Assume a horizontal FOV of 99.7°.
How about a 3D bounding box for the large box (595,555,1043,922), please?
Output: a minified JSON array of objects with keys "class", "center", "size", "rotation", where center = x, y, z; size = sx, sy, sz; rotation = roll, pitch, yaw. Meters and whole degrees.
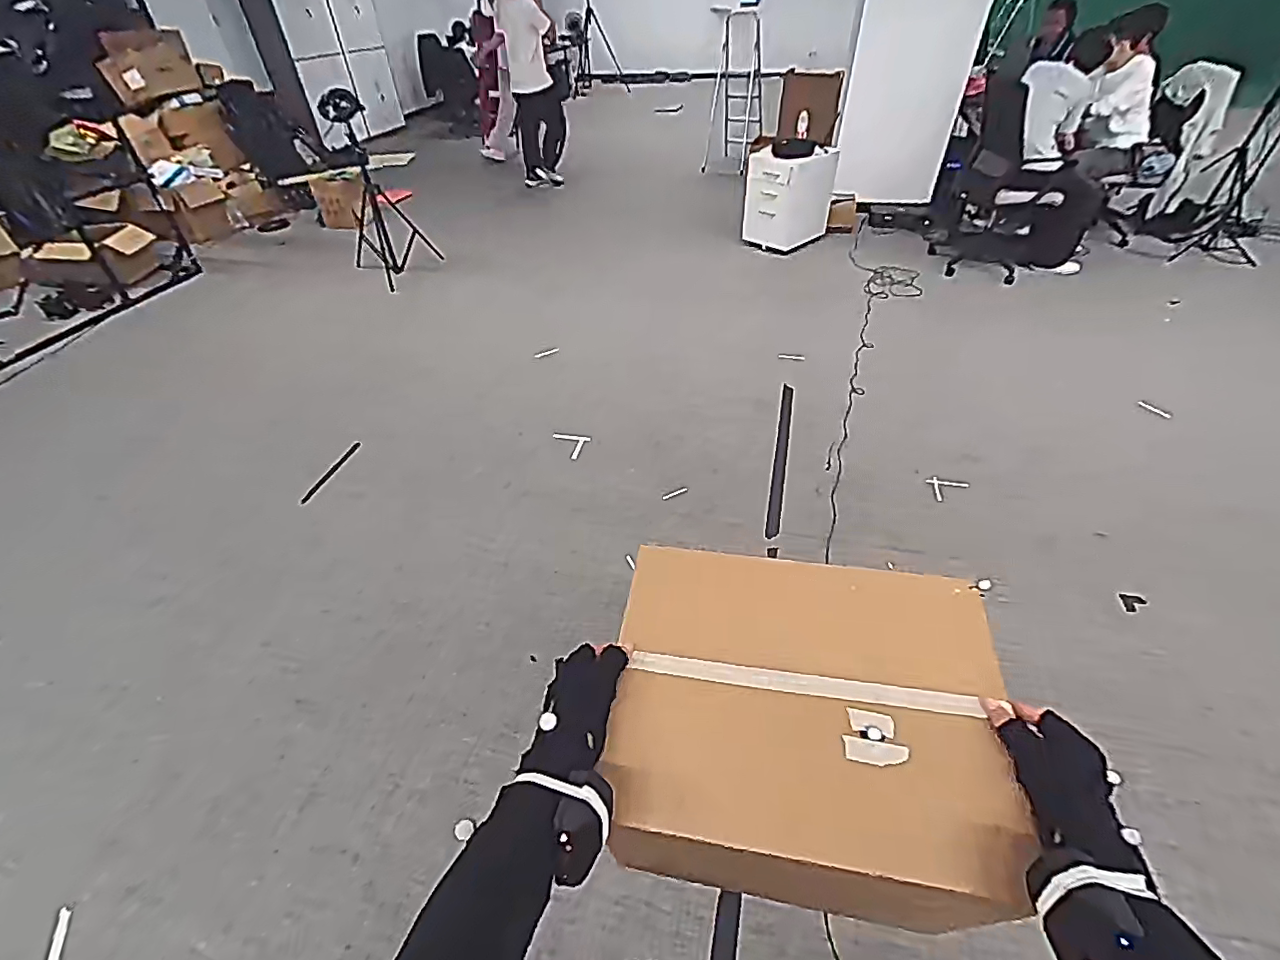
[{"class":"large box","center":[0.181,0.324,0.694],"size":[0.408,0.320,0.320],"rotation":[5,48,9]}]
